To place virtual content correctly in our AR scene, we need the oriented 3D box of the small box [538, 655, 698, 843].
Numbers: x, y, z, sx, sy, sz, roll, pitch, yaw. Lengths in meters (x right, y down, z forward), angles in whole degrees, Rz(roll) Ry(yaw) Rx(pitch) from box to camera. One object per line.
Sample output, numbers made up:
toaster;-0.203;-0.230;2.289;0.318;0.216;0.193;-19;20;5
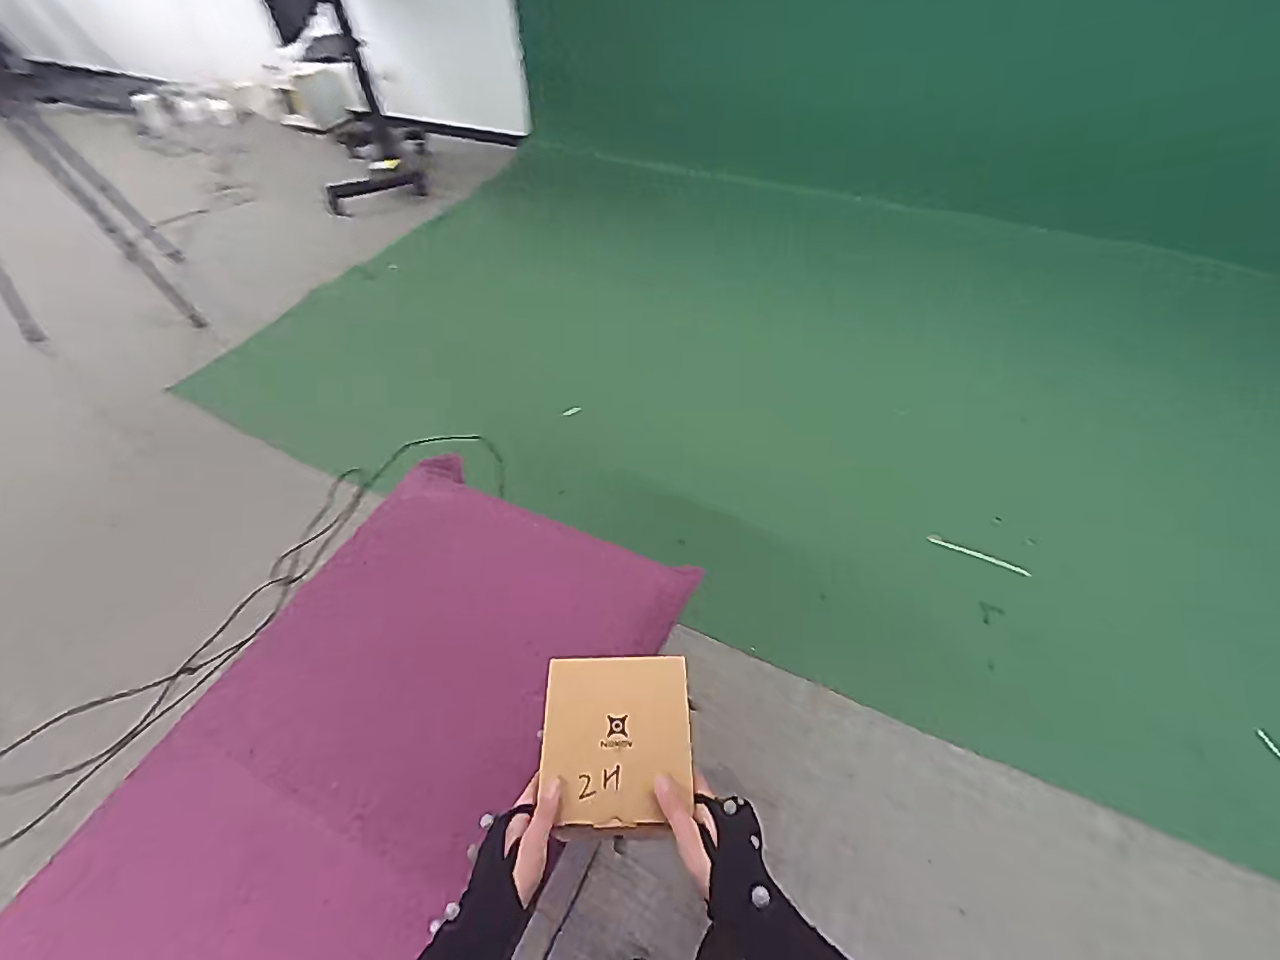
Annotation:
small box;-0.019;0.330;0.662;0.168;0.176;0.179;-1;52;2
